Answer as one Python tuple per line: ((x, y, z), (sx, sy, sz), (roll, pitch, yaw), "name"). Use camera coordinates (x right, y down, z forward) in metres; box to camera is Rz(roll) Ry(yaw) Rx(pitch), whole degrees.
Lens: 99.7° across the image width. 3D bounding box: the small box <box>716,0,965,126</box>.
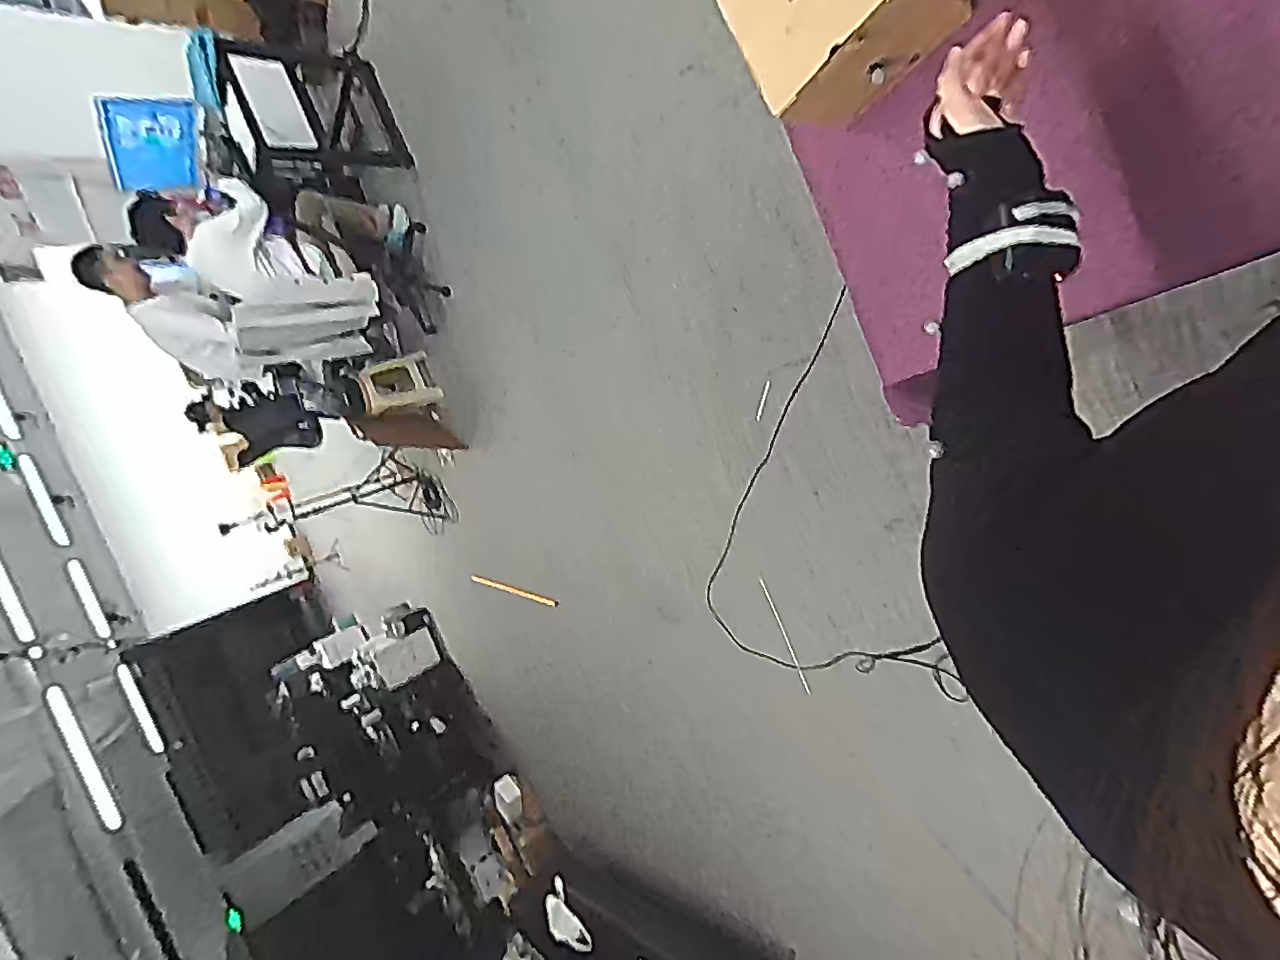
((0.219, -0.525, 0.593), (0.168, 0.176, 0.179), (-27, 89, 51), "small box")
